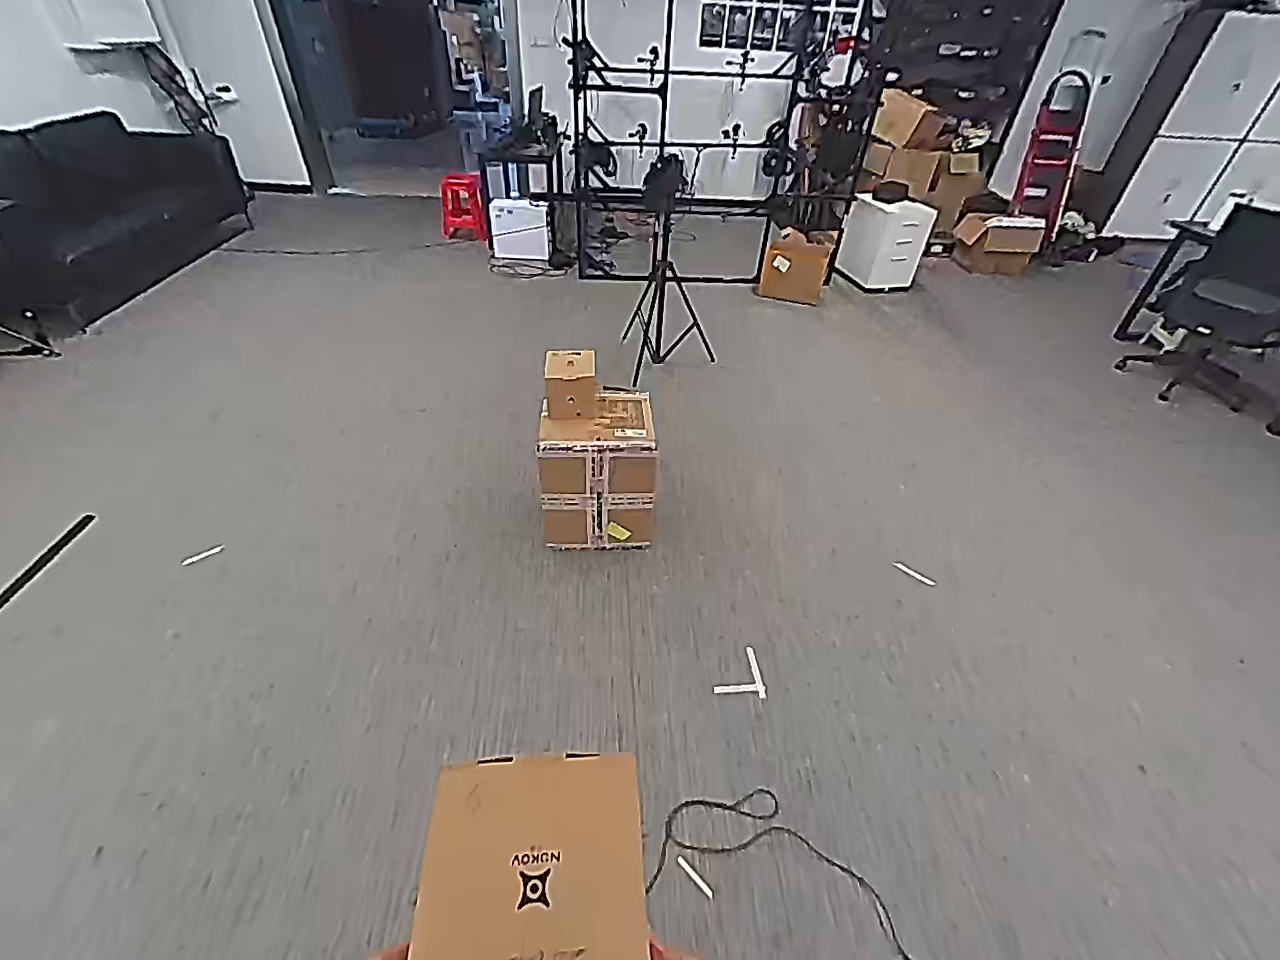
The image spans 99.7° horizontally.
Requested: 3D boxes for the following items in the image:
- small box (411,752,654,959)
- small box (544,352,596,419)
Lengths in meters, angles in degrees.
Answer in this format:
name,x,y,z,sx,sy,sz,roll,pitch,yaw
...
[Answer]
name,x,y,z,sx,sy,sz,roll,pitch,yaw
small box,-0.083,0.352,0.454,0.168,0.176,0.179,0,45,-7
small box,-0.236,-0.321,1.860,0.168,0.176,0.179,-2,44,-4
